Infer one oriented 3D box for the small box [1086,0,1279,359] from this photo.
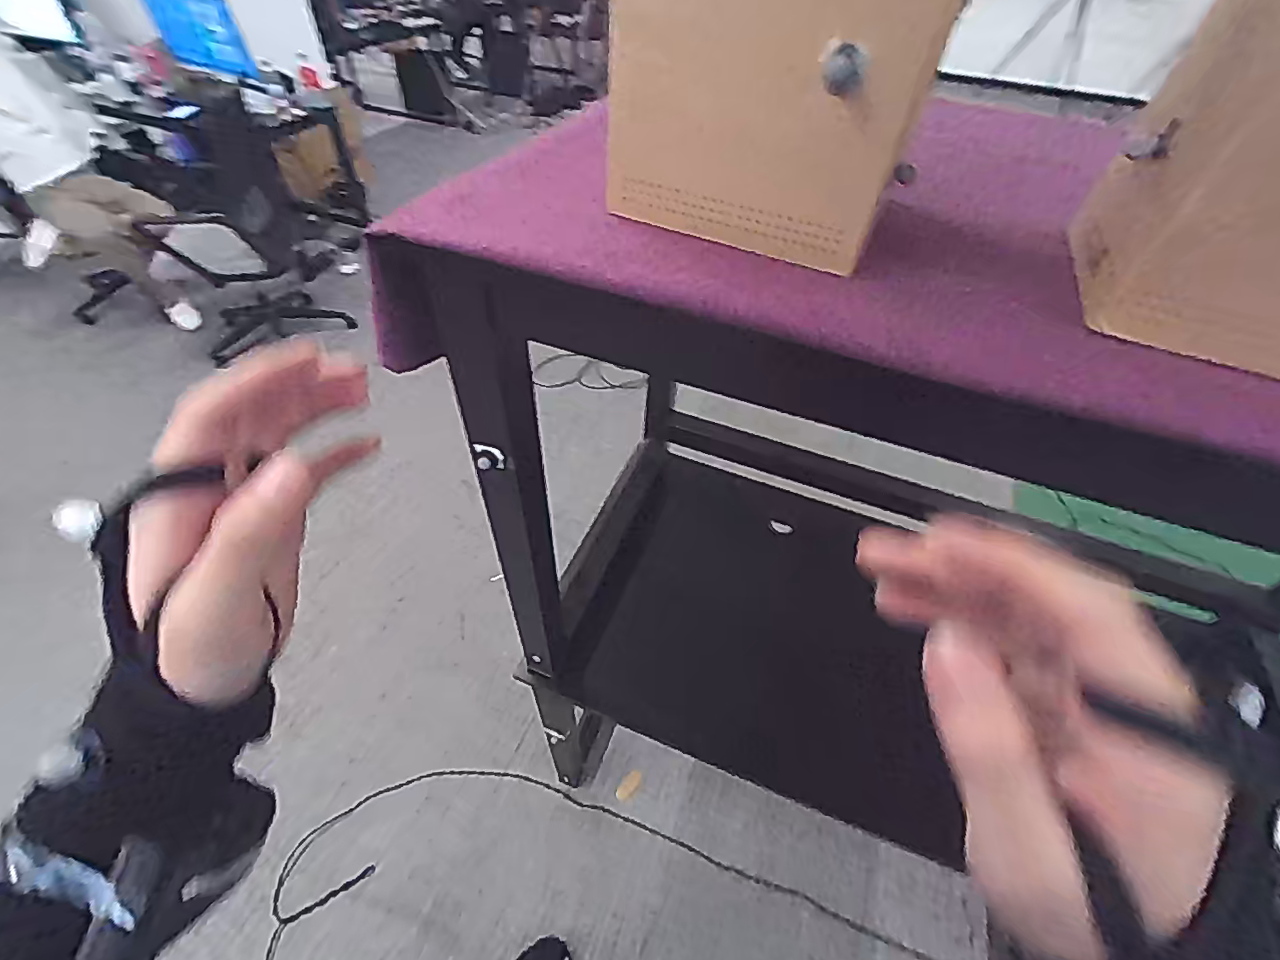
[{"bbox_3d":[0.370,-0.168,0.277,0.179,0.176,0.168,20,49,16],"label":"small box"}]
